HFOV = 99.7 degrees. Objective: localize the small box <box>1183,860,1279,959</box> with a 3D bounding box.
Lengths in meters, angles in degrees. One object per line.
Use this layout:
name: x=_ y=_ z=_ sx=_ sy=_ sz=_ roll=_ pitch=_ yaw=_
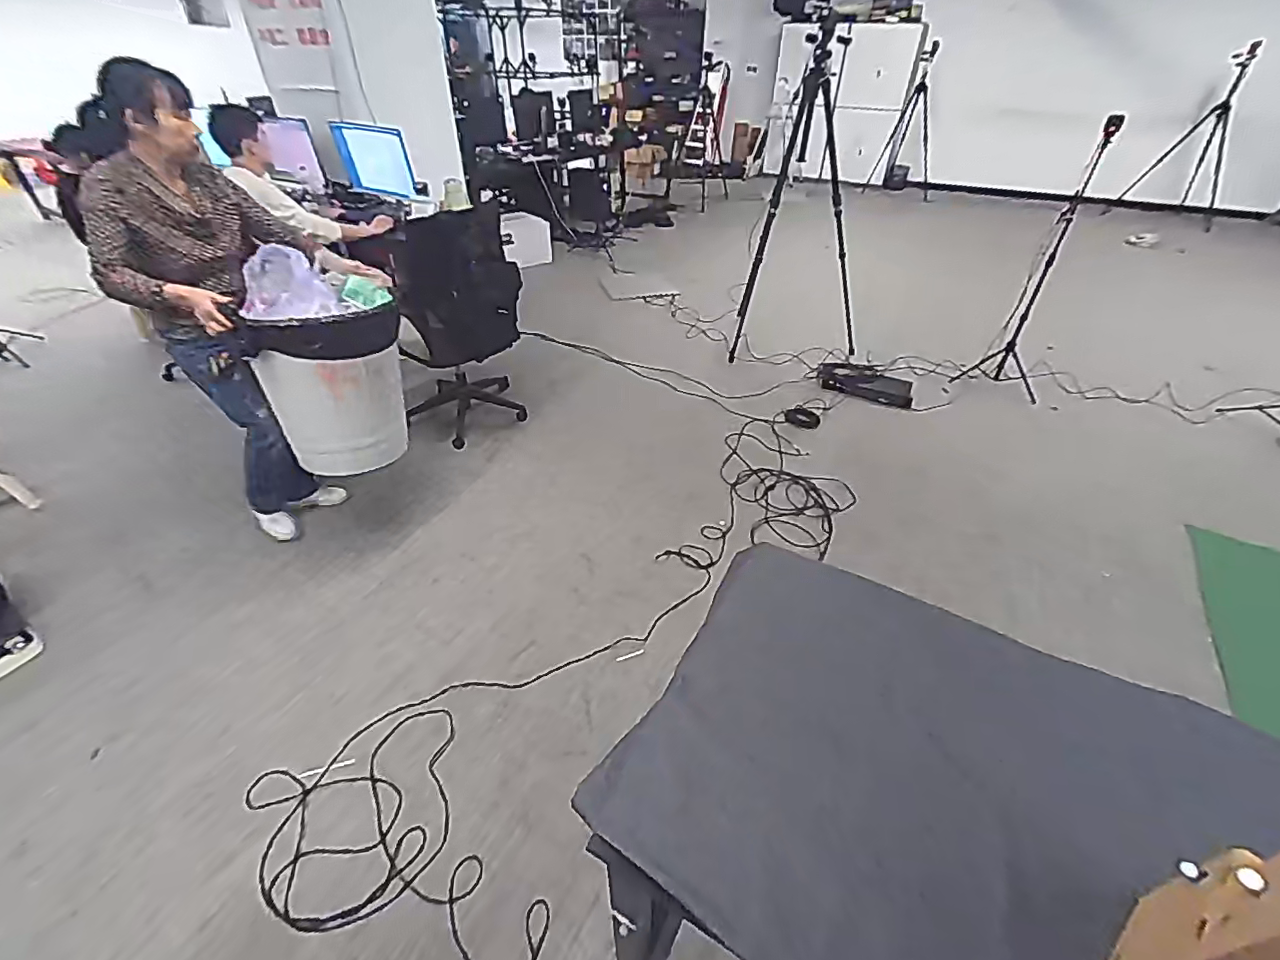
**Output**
small box: x=0.580 y=0.386 z=0.394 sx=0.168 sy=0.176 sz=0.179 roll=-17 pitch=41 yaw=-23
